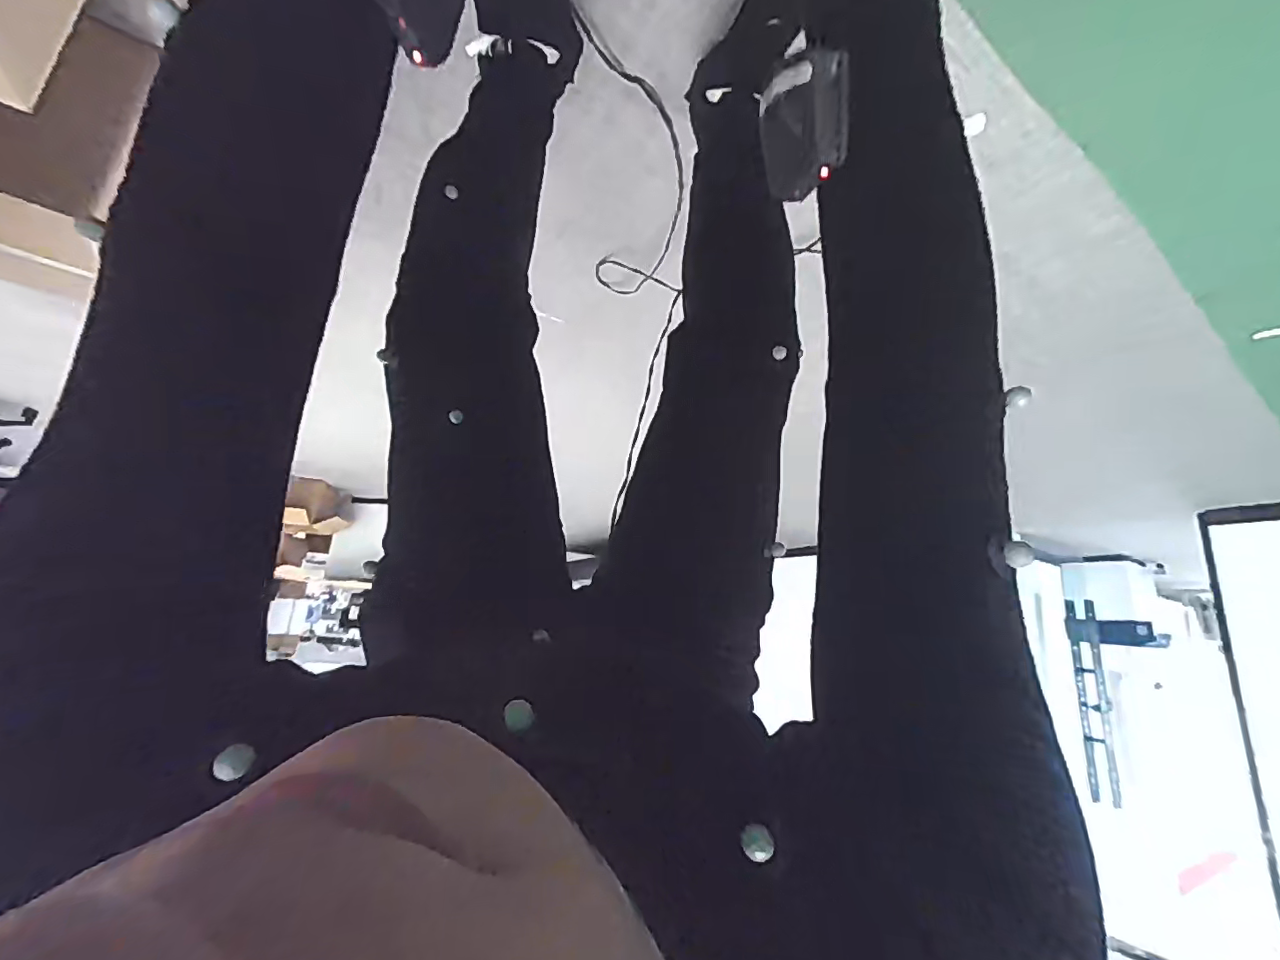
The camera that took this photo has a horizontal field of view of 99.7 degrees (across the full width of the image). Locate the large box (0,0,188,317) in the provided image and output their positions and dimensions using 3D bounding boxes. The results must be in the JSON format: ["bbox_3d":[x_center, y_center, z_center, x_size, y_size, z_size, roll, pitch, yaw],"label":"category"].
[{"bbox_3d":[-0.966,-0.501,0.777,0.408,0.320,0.320,16,161,-30],"label":"large box"}]
